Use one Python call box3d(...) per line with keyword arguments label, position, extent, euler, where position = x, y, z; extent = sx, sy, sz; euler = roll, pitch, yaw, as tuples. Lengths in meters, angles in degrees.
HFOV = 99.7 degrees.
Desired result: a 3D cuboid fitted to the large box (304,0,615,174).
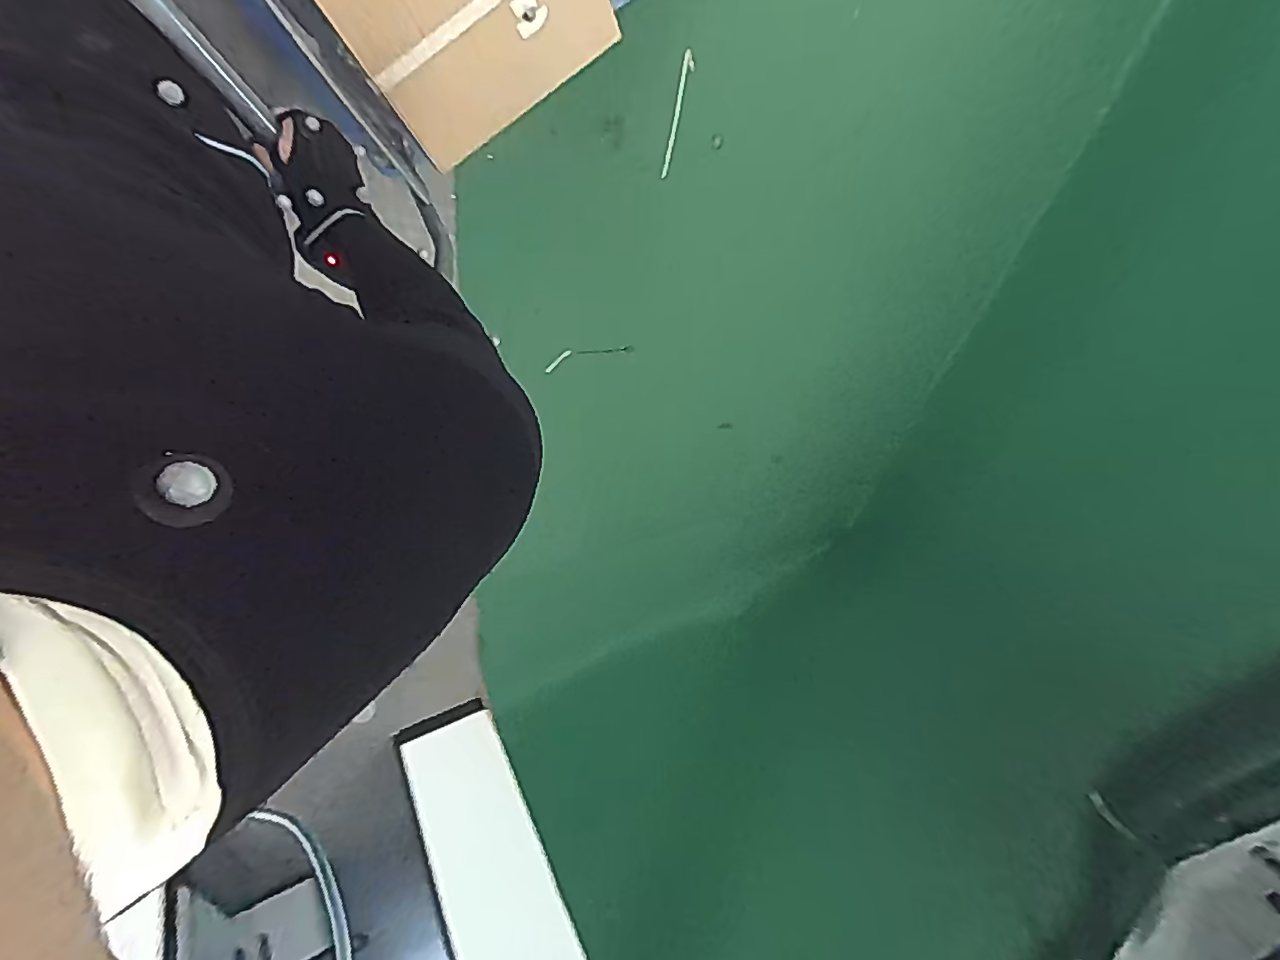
box3d(label="large box", position=(-0.326, -0.828, 0.935), extent=(0.408, 0.320, 0.320), euler=(-37, 143, 0))
